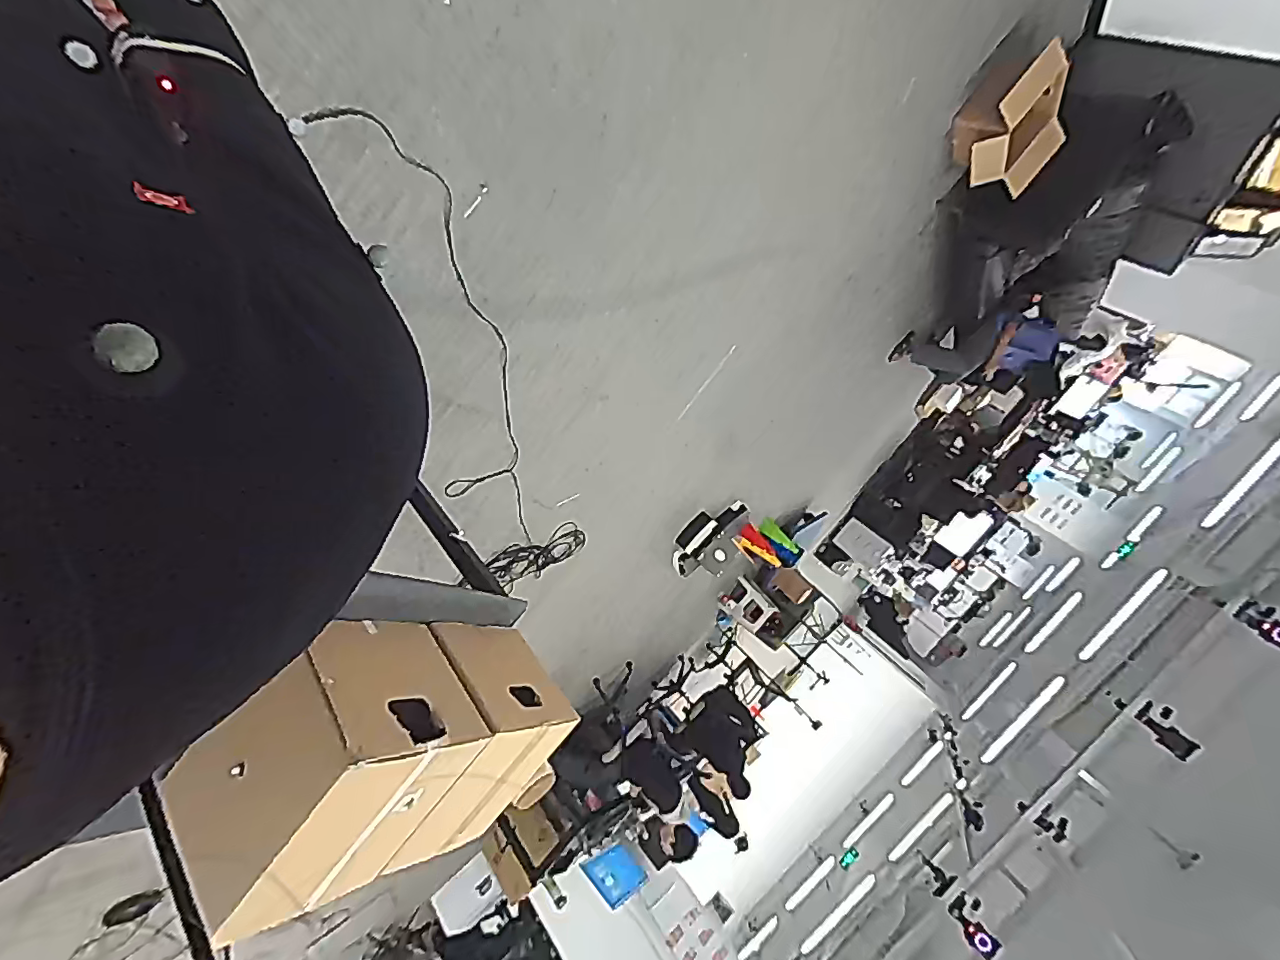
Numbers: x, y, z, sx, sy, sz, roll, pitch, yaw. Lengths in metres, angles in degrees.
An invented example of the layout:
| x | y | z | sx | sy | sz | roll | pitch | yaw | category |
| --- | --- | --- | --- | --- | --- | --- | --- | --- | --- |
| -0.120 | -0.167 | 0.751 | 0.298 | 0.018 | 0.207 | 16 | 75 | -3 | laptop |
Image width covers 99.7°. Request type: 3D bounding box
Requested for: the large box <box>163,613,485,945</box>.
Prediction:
| x | y | z | sx | sy | sz | roll | pitch | yaw | category |
| --- | --- | --- | --- | --- | --- | --- | --- | --- | --- |
| -0.579 | 0.507 | 1.003 | 0.408 | 0.320 | 0.320 | -52 | 150 | 5 | large box |
